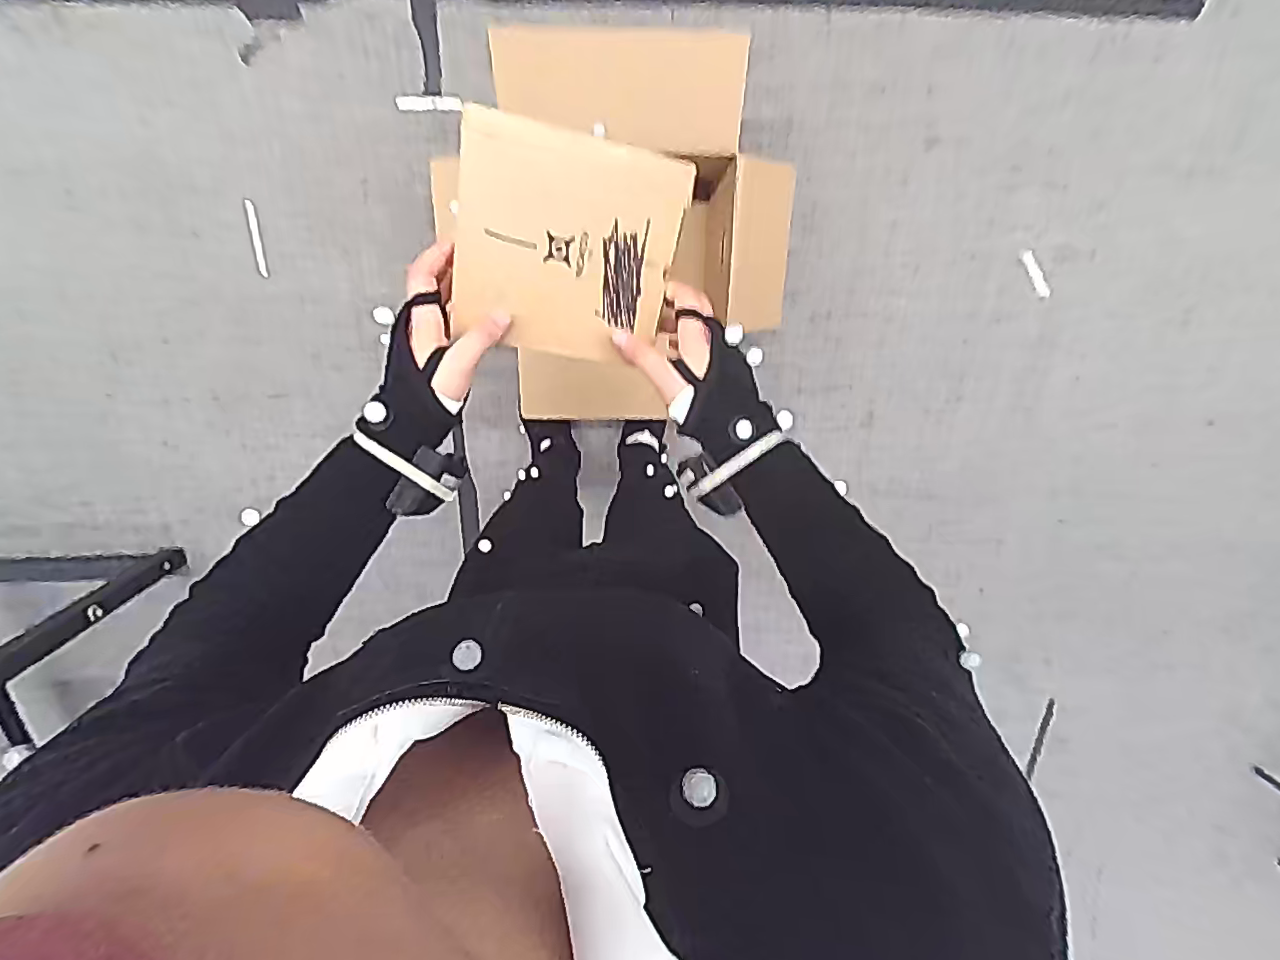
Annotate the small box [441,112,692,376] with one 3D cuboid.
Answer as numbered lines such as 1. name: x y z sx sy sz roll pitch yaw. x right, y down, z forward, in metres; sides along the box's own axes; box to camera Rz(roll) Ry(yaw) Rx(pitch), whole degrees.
1. small box: -0.074 -0.213 0.498 0.179 0.176 0.168 8 117 -14
